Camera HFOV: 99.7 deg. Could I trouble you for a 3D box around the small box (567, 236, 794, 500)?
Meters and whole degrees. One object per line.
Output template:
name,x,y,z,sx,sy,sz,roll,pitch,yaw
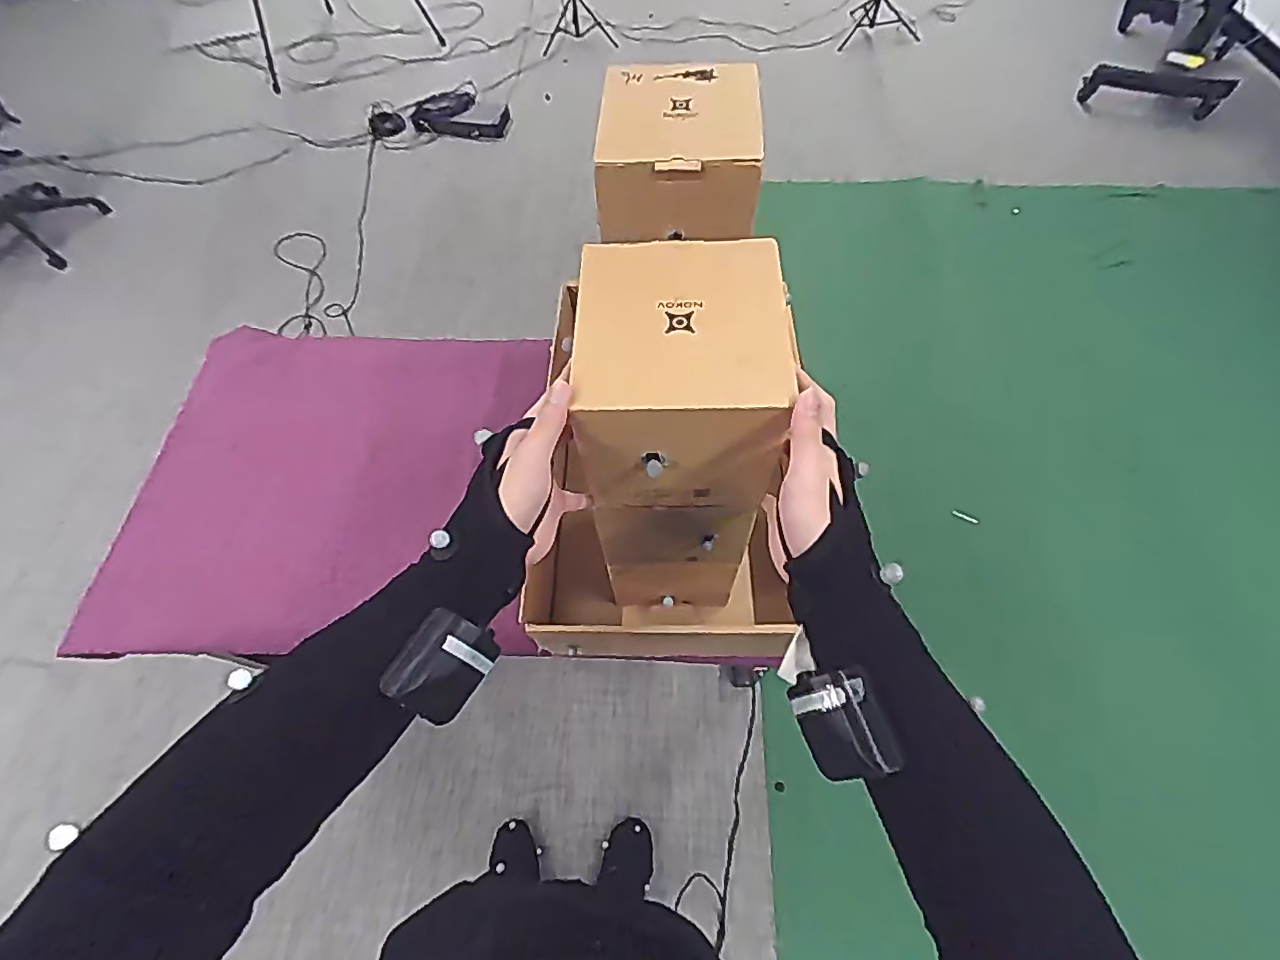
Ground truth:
small box,0.035,-0.090,0.491,0.168,0.176,0.179,-1,61,3

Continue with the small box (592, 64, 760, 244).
small box,0.044,-0.340,0.627,0.168,0.176,0.179,2,63,3

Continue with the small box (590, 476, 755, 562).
small box,0.039,-0.011,0.634,0.168,0.176,0.179,0,60,3
